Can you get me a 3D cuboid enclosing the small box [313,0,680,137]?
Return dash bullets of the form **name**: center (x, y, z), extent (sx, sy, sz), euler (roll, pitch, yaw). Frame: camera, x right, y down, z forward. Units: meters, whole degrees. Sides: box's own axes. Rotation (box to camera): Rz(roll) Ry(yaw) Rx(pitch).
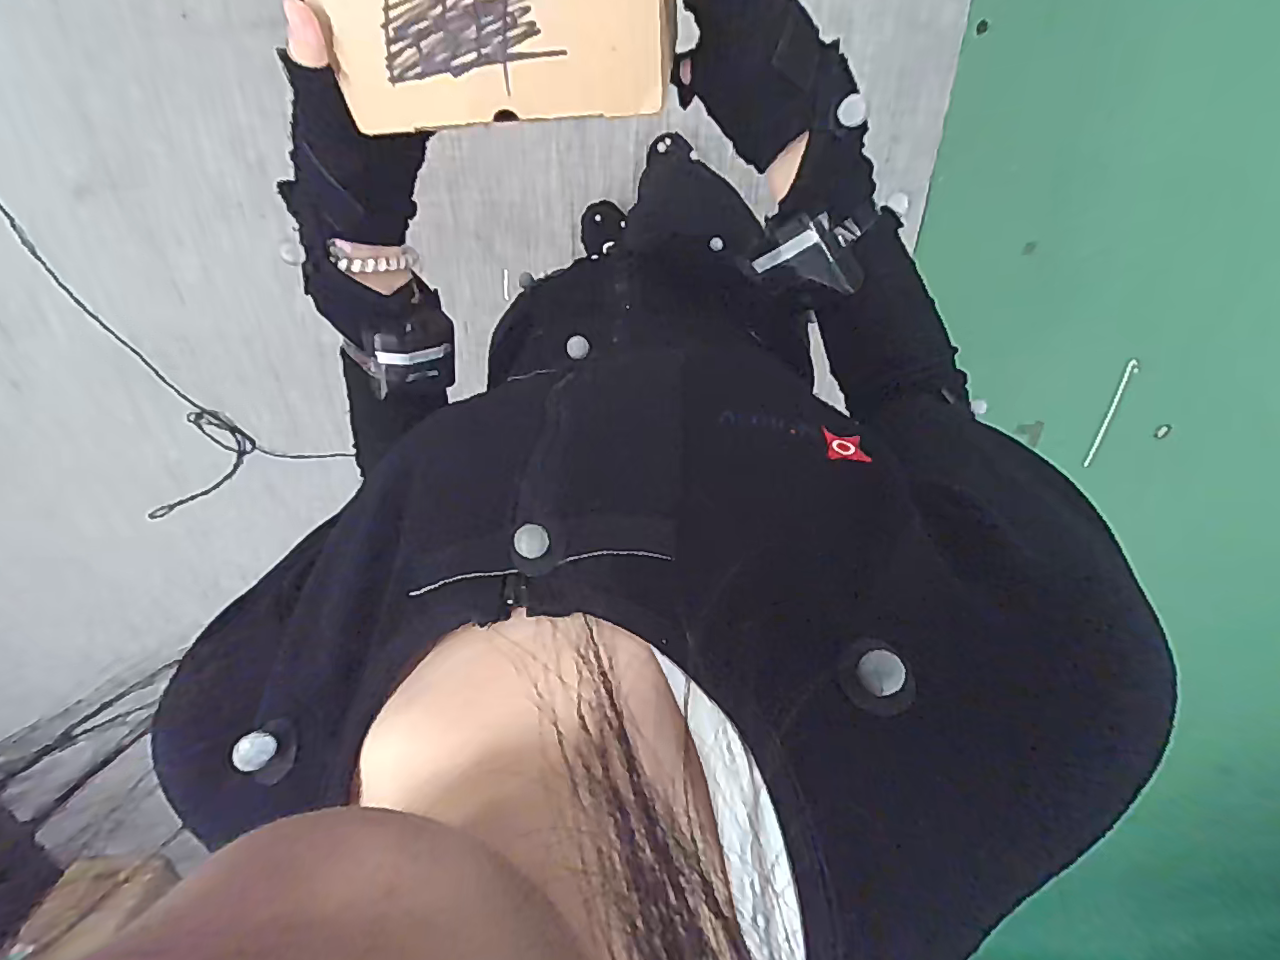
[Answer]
- **small box**: center (-0.067, -0.304, 0.273), extent (0.168, 0.176, 0.179), euler (0, 139, 7)
